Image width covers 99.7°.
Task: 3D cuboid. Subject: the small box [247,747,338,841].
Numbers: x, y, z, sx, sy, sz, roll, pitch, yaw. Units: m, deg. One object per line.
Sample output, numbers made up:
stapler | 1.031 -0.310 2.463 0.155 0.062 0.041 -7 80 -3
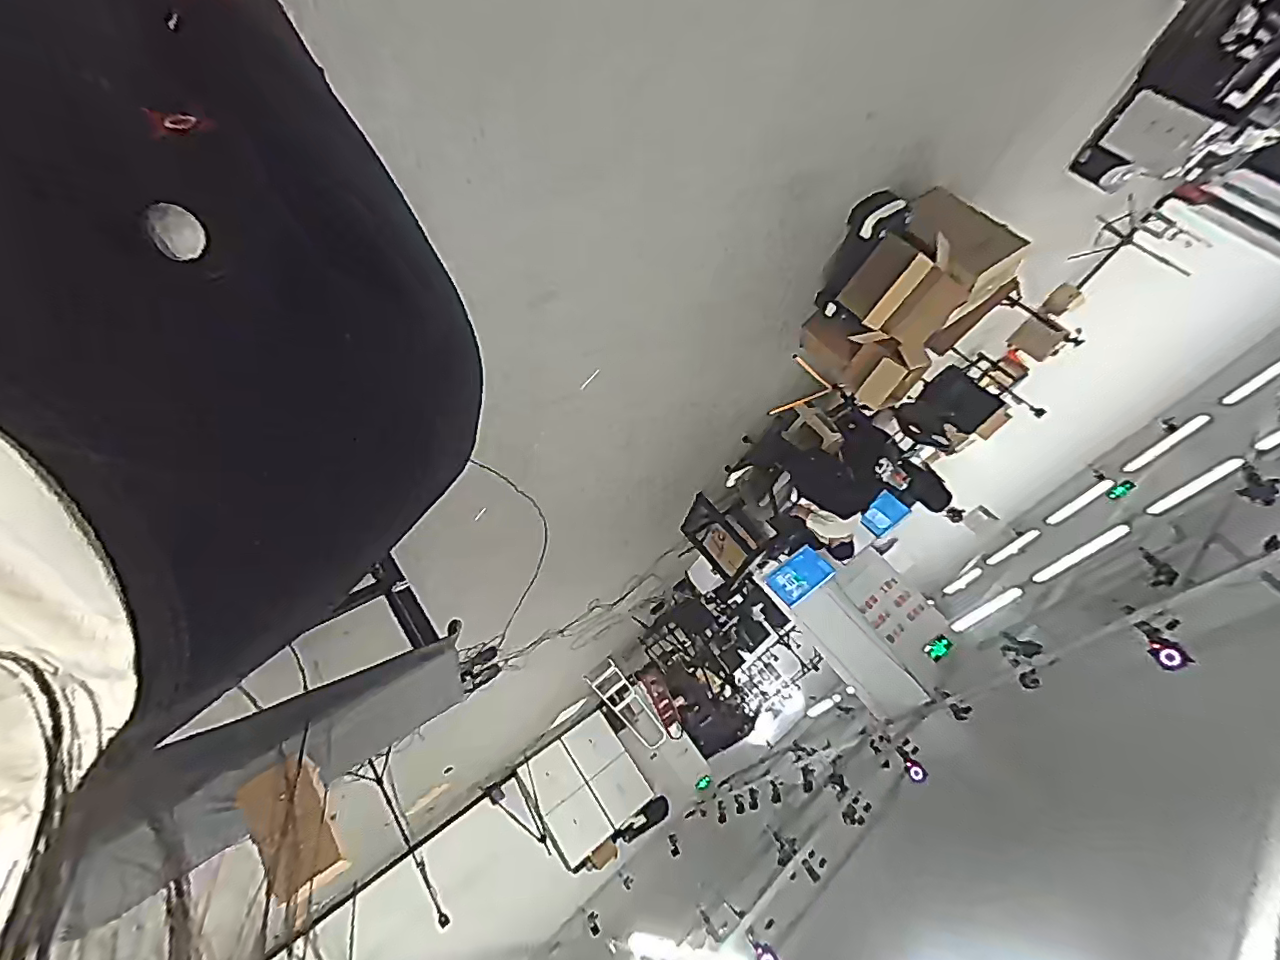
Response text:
small box | -1.028 0.931 1.597 0.179 0.176 0.168 -27 155 -33

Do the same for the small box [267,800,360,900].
small box | -0.930 1.051 1.544 0.168 0.176 0.179 -27 154 -32
